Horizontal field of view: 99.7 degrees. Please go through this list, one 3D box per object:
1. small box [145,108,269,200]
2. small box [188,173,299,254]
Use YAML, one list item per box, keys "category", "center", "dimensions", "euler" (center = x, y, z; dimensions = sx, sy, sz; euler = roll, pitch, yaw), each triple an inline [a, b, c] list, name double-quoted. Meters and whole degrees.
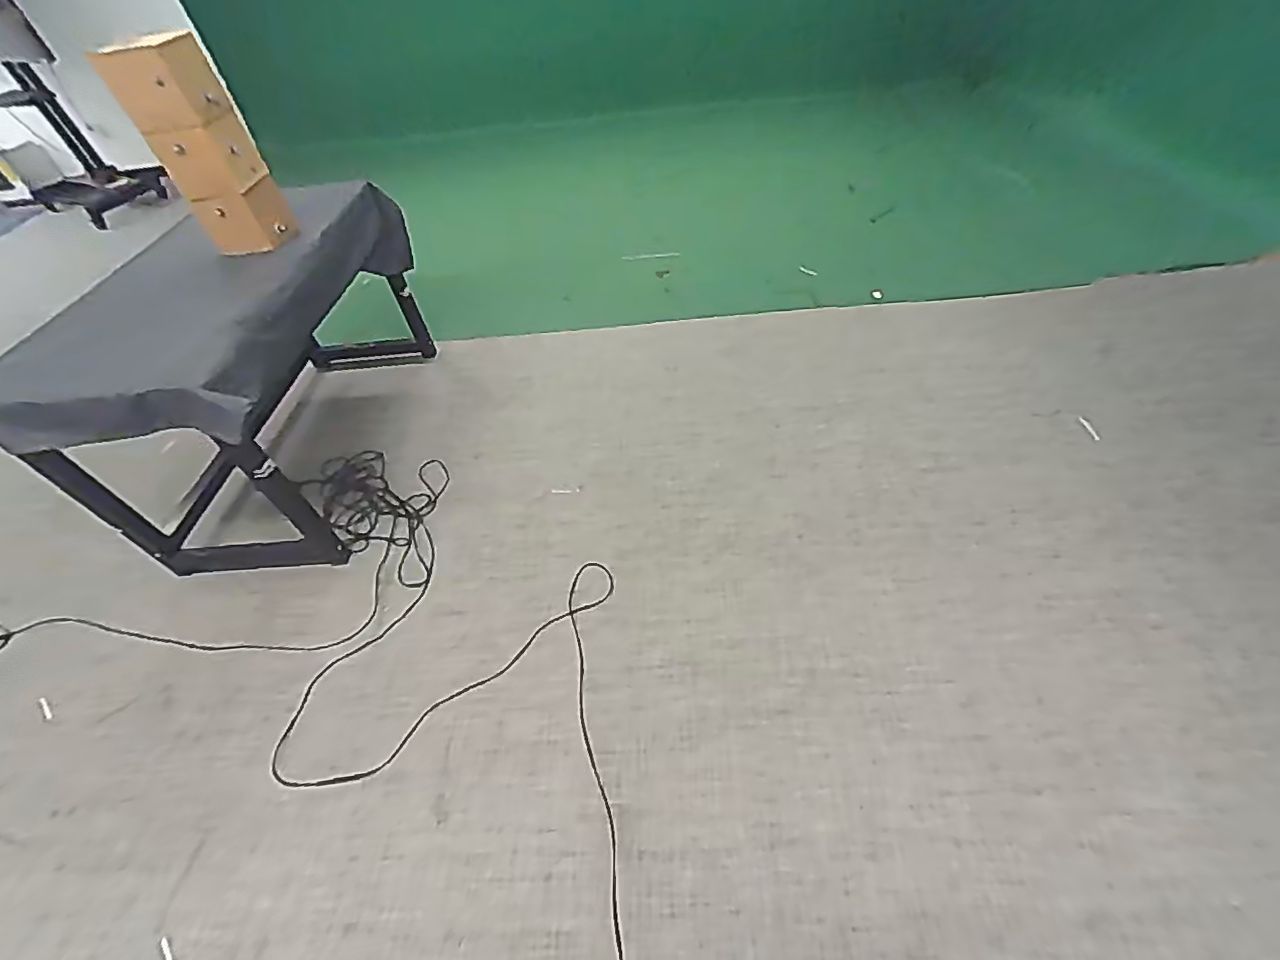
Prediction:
- category: "small box"
  center: [-1.187, -0.901, 1.500]
  dimensions: [0.179, 0.176, 0.168]
  euler: [-5, 49, 5]
- category: "small box"
  center: [-1.179, -0.797, 1.625]
  dimensions: [0.179, 0.176, 0.168]
  euler: [-3, 49, 4]
